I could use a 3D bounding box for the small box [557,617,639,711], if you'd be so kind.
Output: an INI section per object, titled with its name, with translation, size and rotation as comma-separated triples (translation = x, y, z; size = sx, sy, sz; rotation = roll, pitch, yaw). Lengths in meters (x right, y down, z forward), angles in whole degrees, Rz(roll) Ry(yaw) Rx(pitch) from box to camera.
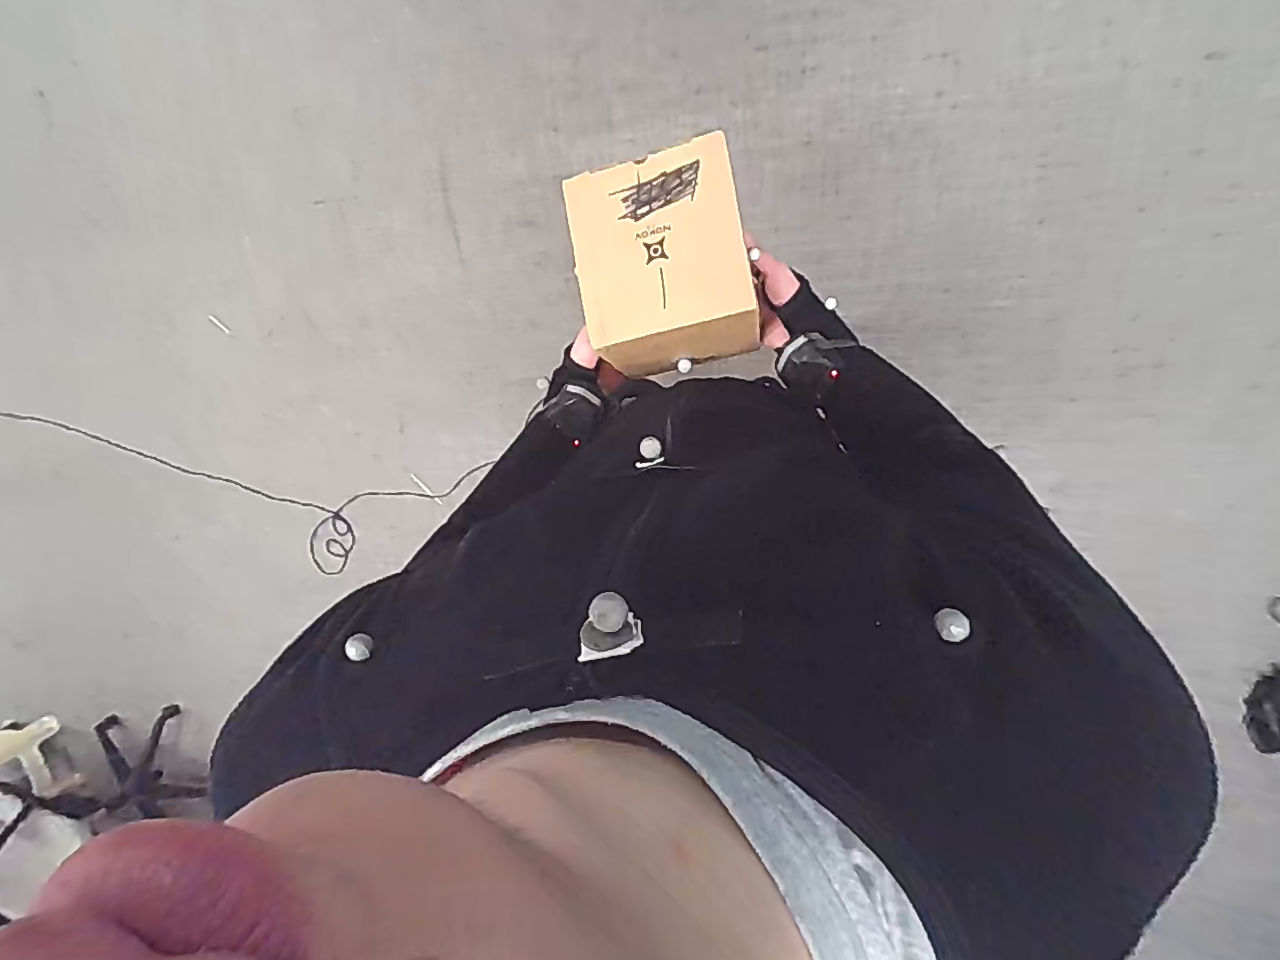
[small box]
translation = -0.120, 0.556, 1.660
size = 0.168, 0.176, 0.179
rotation = 42, 108, 1
